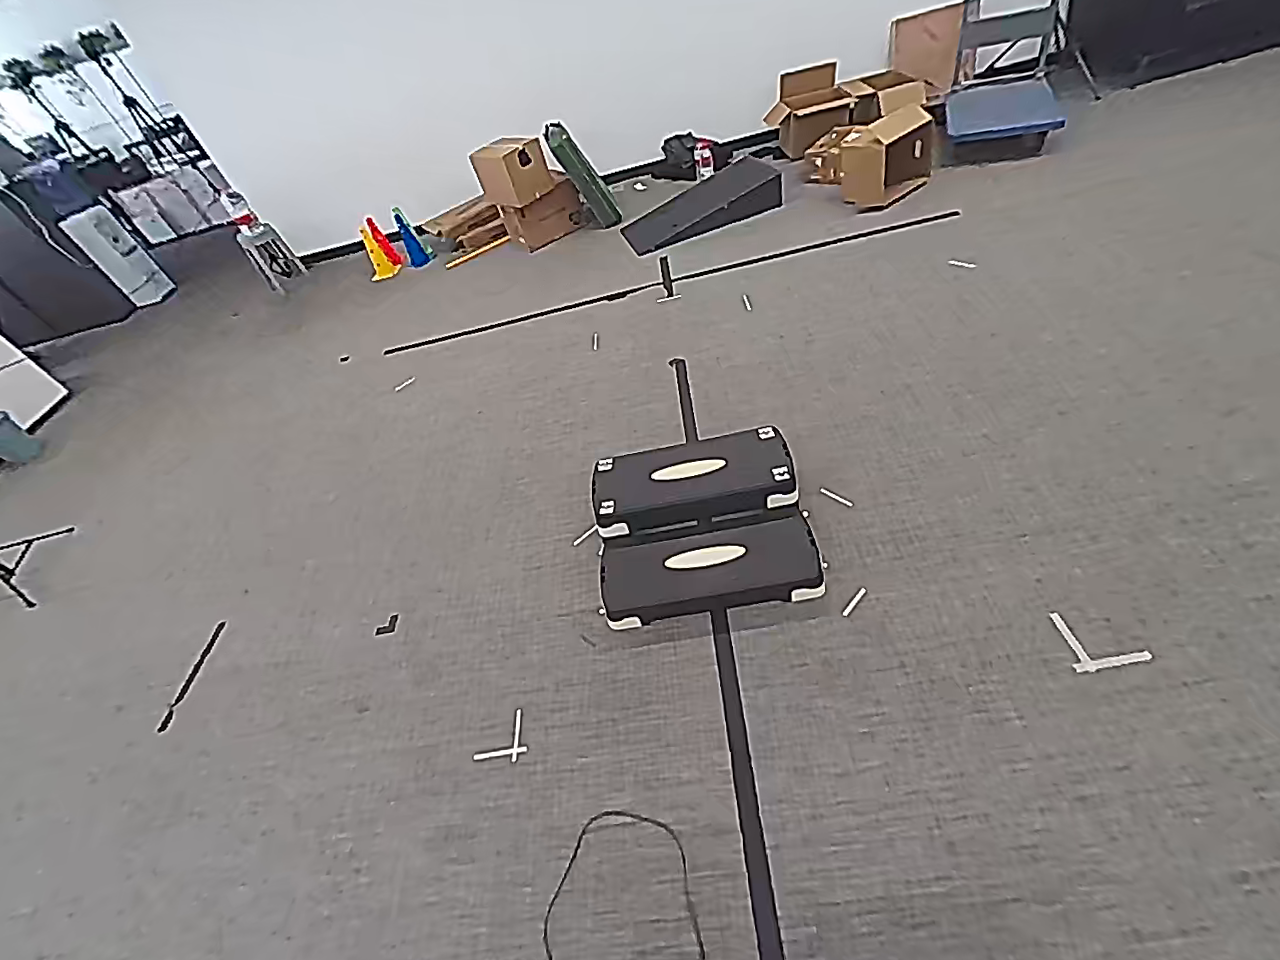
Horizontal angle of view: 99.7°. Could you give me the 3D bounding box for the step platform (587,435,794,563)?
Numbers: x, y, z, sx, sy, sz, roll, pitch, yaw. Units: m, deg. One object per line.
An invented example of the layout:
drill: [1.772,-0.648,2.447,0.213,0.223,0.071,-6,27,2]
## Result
step platform: [0.162,0.061,1.831,0.684,0.204,0.286,-11,46,6]
